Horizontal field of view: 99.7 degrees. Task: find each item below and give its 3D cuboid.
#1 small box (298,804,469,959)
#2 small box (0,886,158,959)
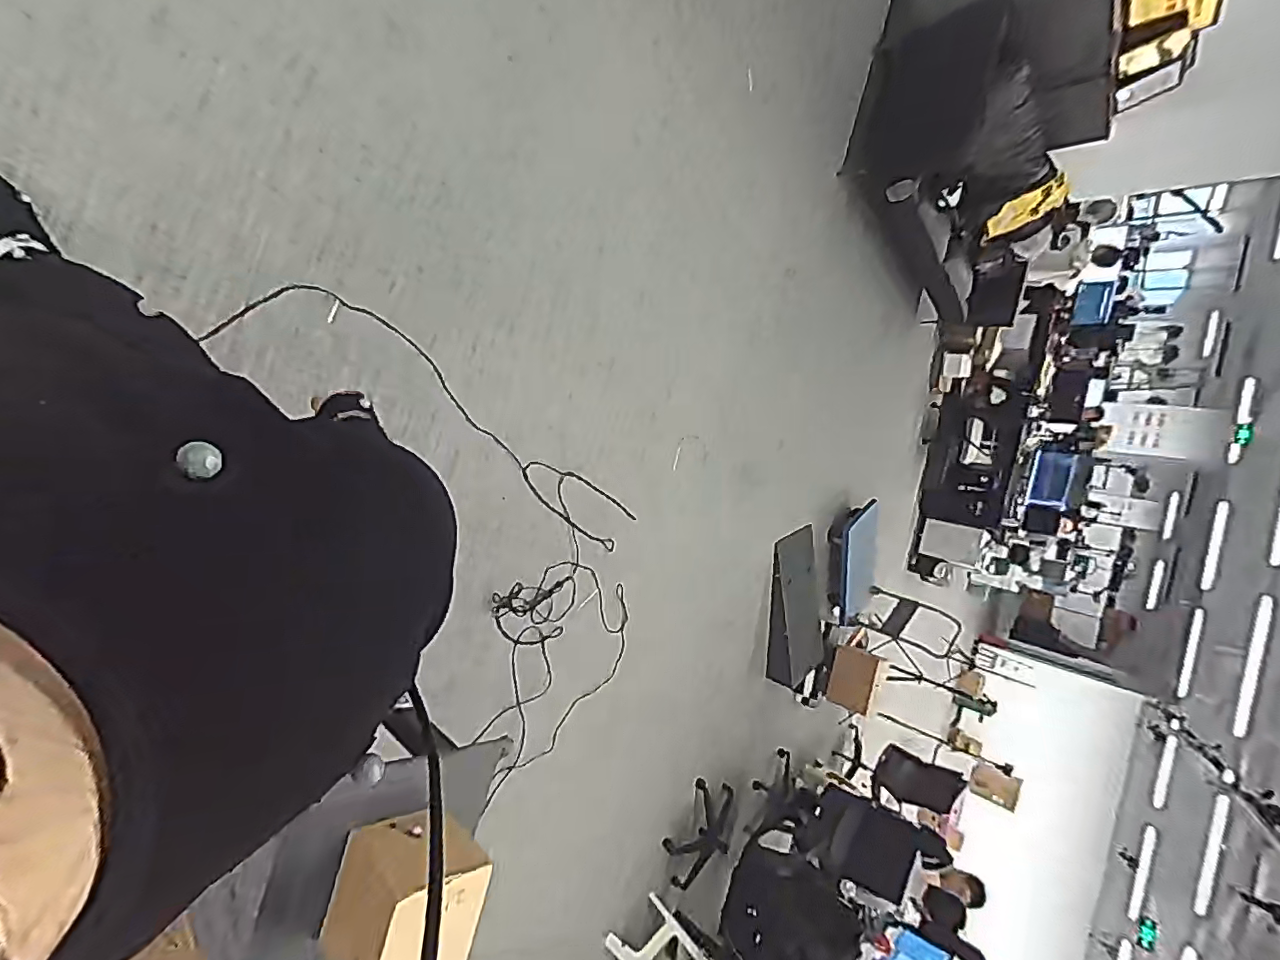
[{"bbox_3d":[-0.407,0.657,0.852,0.168,0.176,0.179,20,85,-51],"label":"small box"},{"bbox_3d":[-0.633,0.583,0.562,0.168,0.176,0.179,21,84,-51],"label":"small box"}]
